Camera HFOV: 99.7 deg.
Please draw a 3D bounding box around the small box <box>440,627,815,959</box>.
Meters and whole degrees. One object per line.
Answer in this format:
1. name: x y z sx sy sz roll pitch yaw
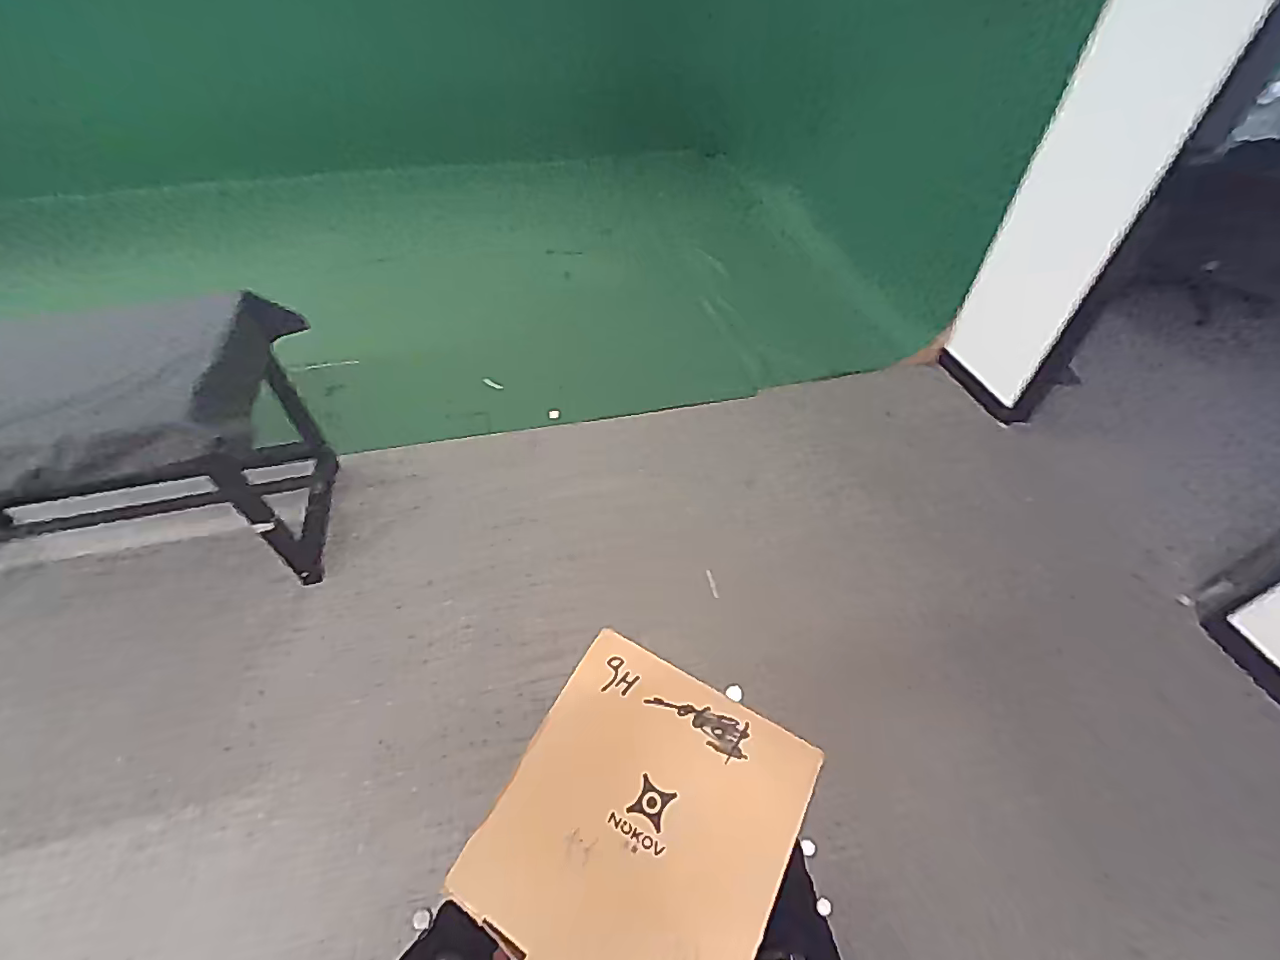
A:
1. small box: 0.000 0.243 0.386 0.168 0.176 0.179 25 60 17
